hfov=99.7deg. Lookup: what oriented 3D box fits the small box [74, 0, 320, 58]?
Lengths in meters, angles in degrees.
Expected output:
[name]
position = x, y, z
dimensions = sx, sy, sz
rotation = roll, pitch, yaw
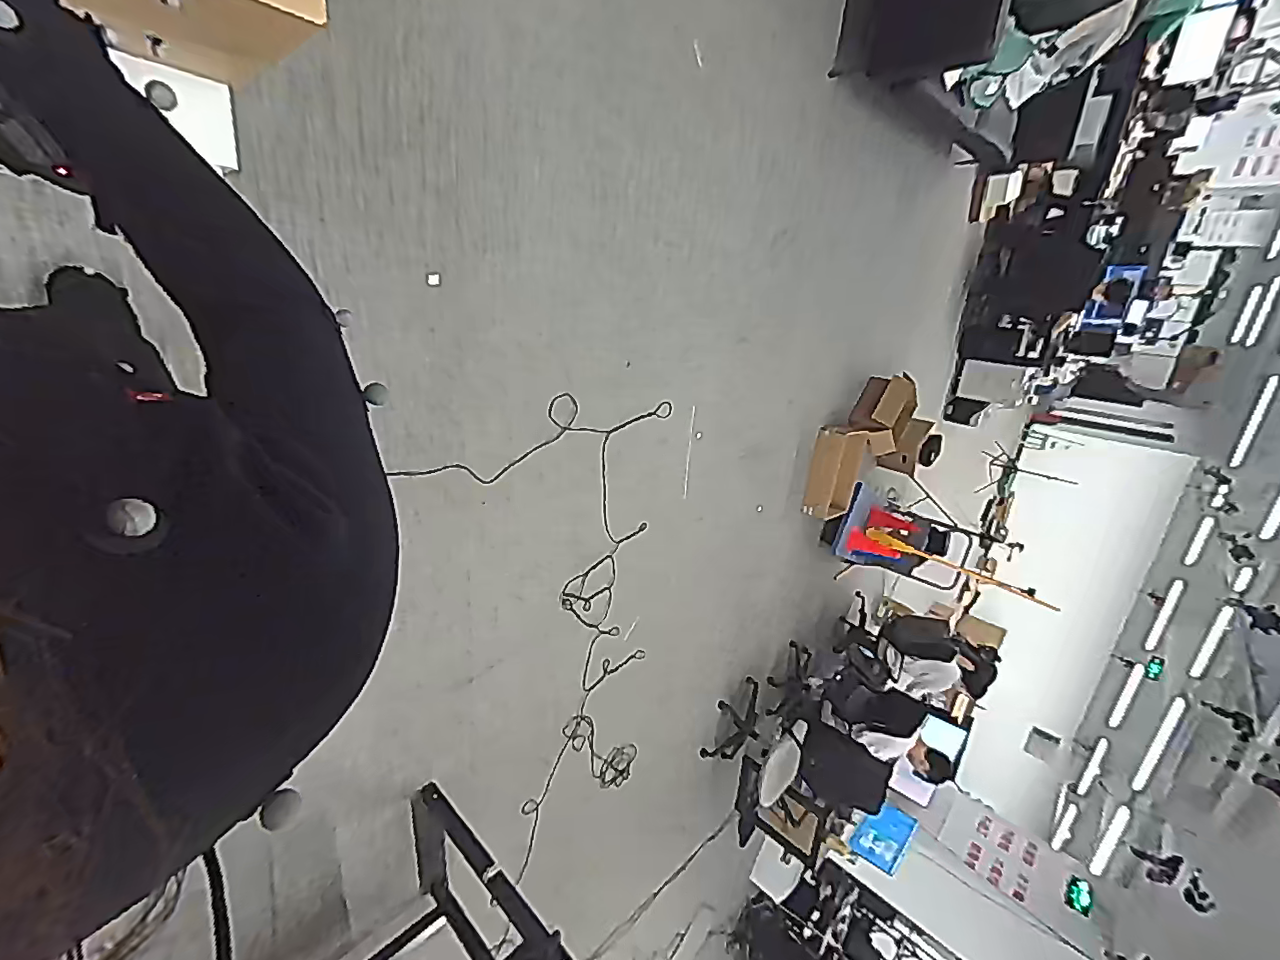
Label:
[small box]
position = -0.383, -0.474, 0.429
dimensions = 0.179, 0.176, 0.168
rotation = -13, 115, -46
